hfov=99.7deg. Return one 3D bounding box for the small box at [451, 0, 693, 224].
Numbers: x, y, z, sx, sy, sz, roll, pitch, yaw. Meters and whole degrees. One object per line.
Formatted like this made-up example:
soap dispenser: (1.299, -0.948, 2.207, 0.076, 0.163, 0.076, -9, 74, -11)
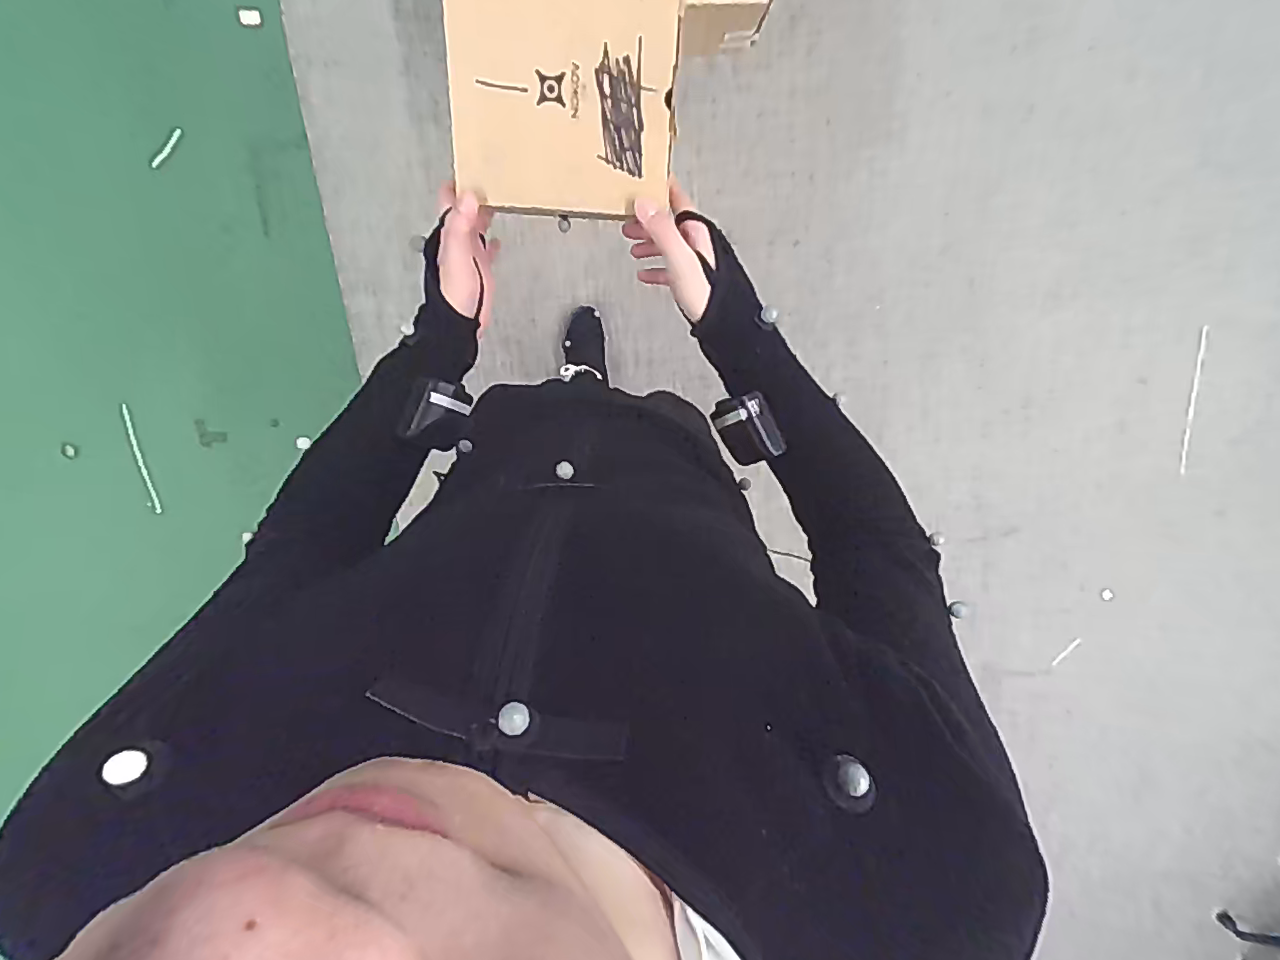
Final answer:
small box: (-0.053, -0.326, 0.484, 0.179, 0.176, 0.168, 4, 114, -1)
